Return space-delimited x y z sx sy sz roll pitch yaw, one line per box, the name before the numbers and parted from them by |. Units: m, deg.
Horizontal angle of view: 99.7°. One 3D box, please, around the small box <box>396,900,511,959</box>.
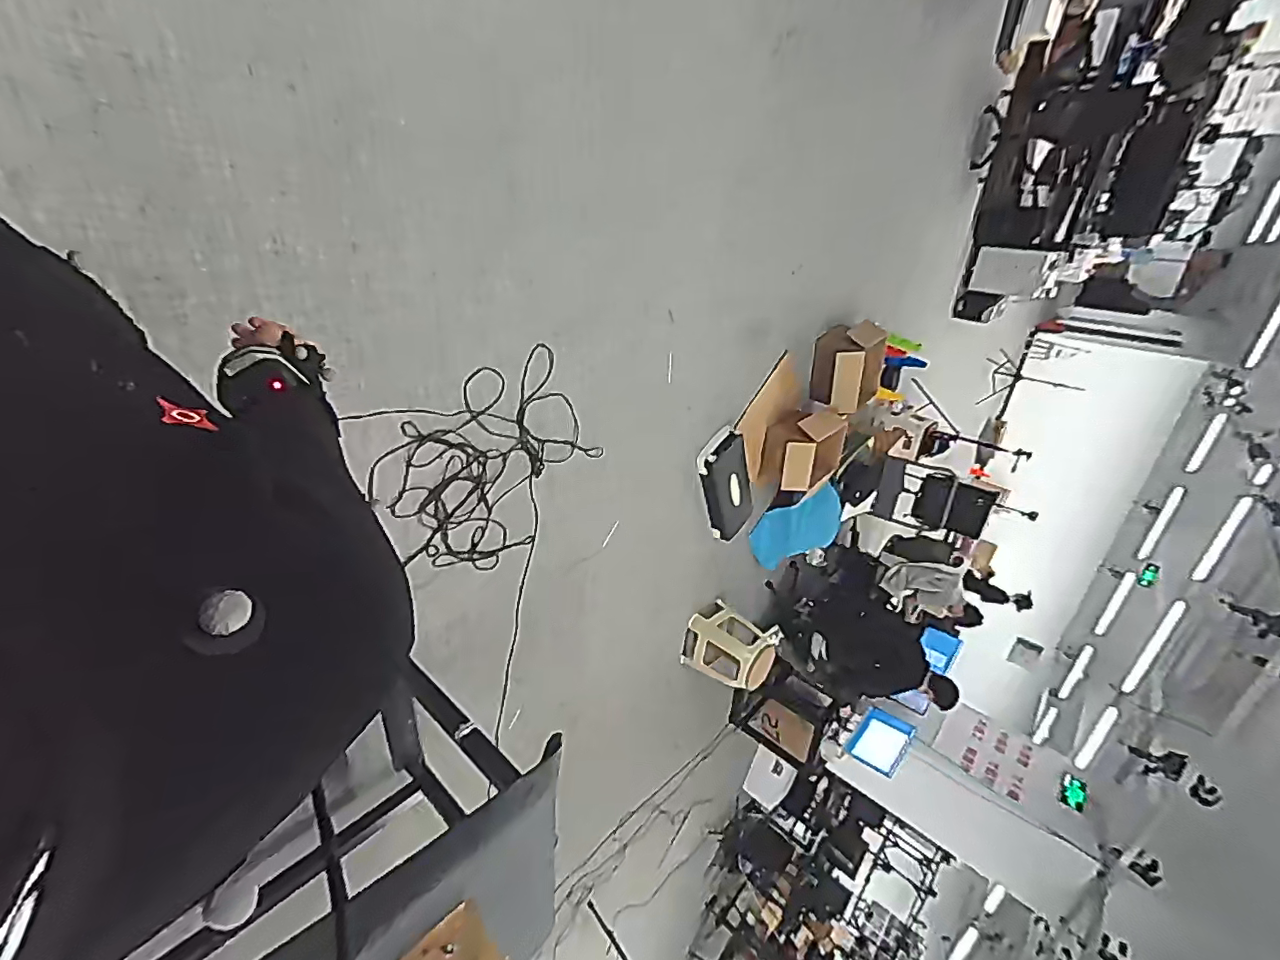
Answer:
small box | -0.381 1.031 1.118 0.168 0.176 0.179 -24 128 -43
